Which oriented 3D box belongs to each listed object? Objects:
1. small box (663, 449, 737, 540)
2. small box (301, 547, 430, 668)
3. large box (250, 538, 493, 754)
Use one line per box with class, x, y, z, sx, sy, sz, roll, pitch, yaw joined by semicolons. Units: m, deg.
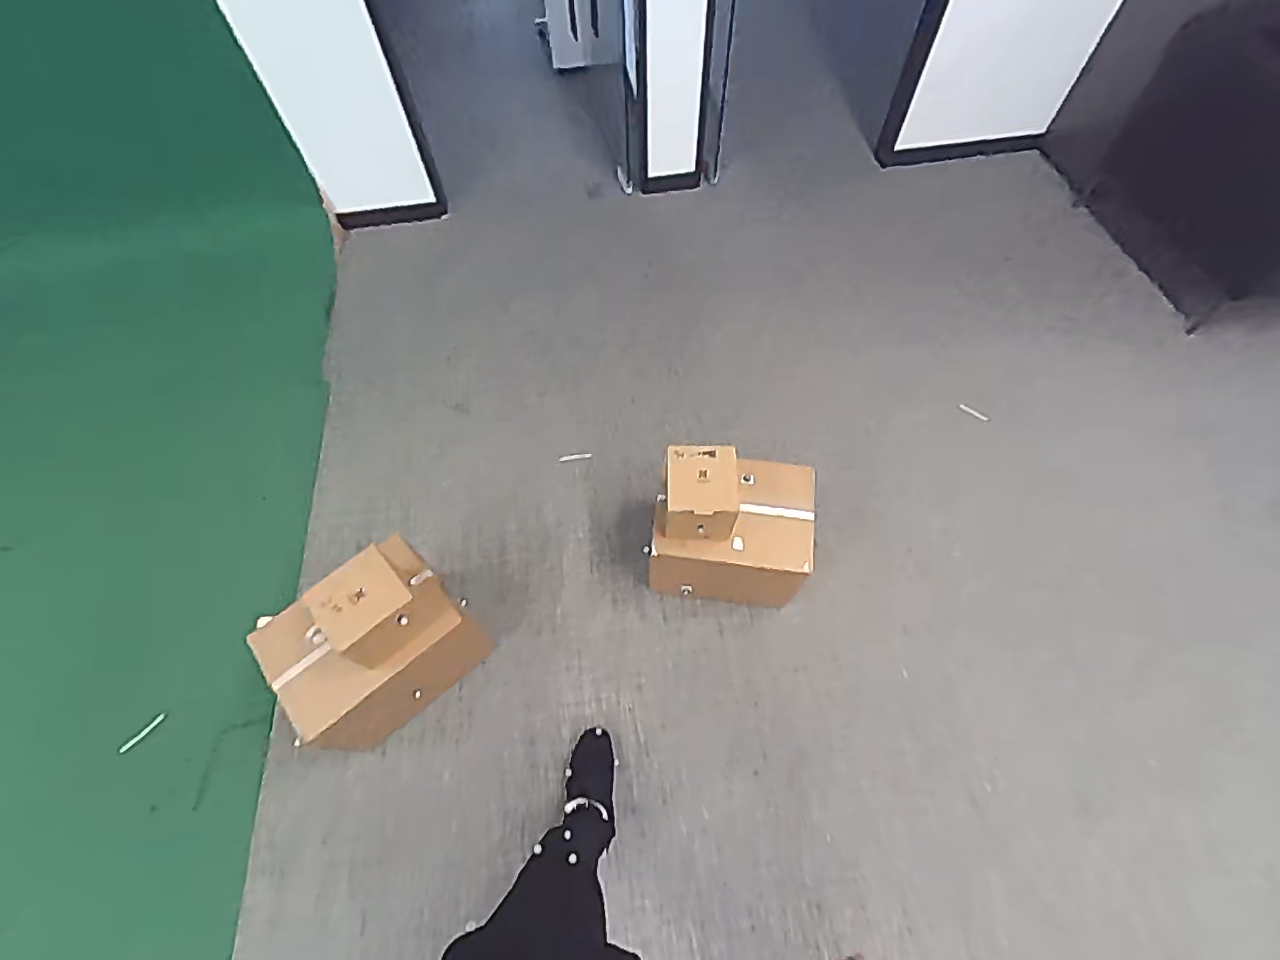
small box;0.142;0.040;1.323;0.168;0.176;0.179;1;61;1
small box;-0.589;0.284;1.190;0.179;0.176;0.168;-39;67;-19
large box;-0.660;0.431;1.393;0.408;0.320;0.320;-39;65;-18
